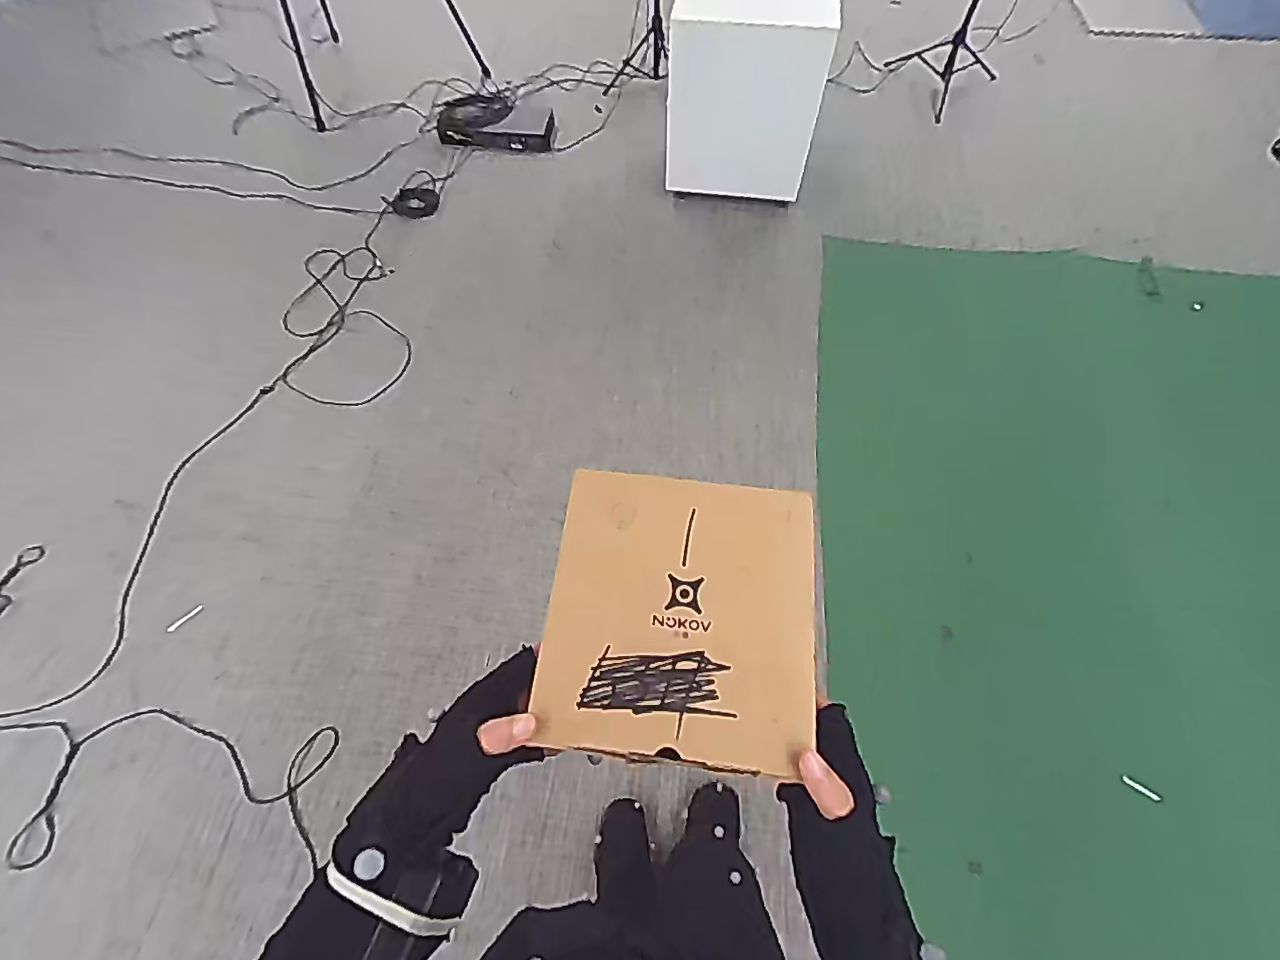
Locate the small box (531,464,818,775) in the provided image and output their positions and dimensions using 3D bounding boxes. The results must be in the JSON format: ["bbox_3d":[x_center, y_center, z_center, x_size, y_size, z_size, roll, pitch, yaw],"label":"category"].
[{"bbox_3d":[0.029,0.109,0.410,0.168,0.176,0.179,7,65,3],"label":"small box"}]
